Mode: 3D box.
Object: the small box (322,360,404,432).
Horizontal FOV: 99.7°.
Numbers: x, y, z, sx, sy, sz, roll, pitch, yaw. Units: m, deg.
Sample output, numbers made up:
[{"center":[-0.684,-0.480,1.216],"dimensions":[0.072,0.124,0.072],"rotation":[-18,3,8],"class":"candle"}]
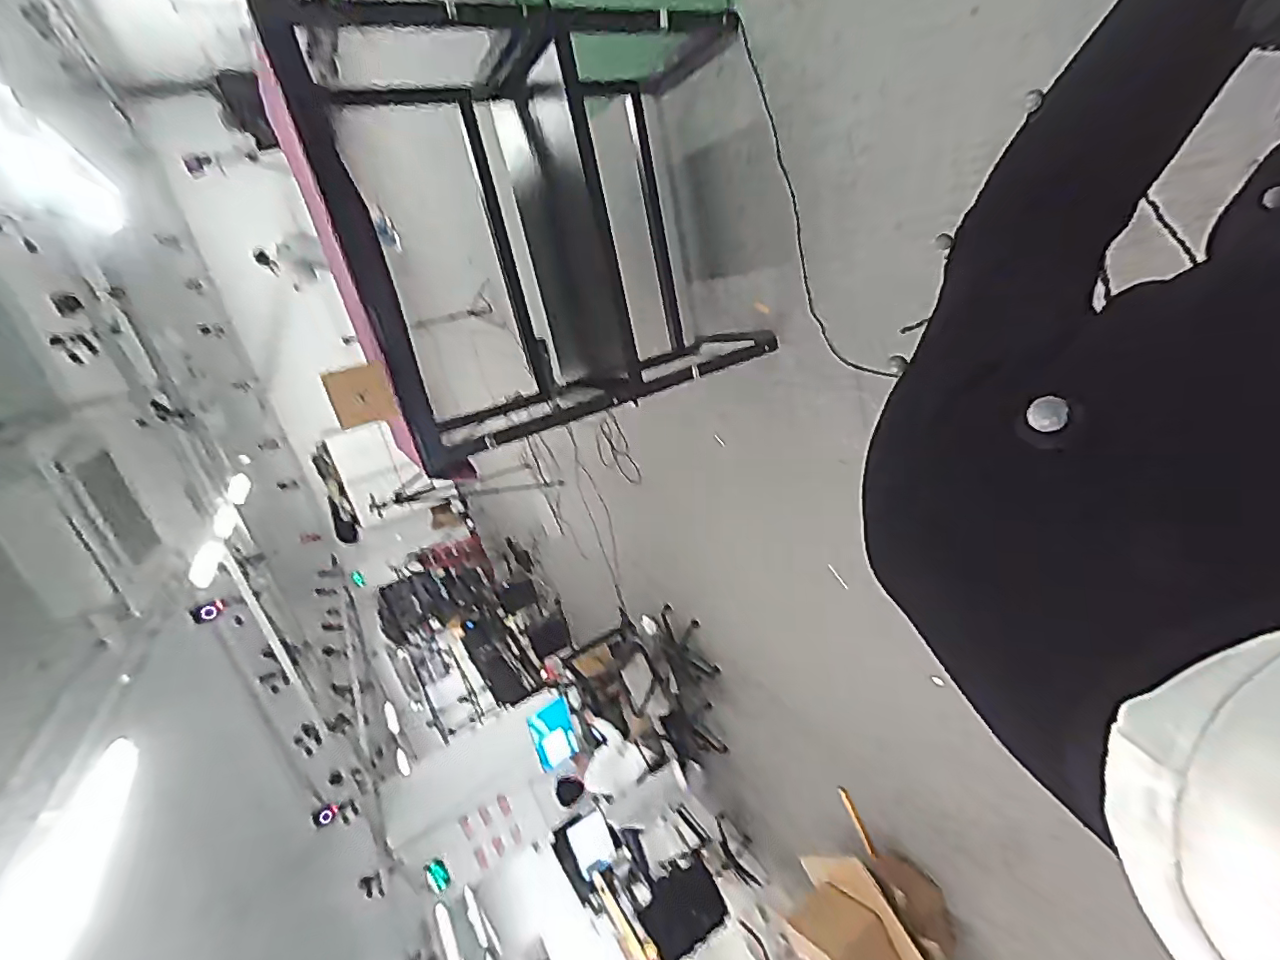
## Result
[{"center":[-0.833,-0.259,1.626],"dimensions":[0.168,0.176,0.179],"rotation":[18,127,59],"class":"small box"}]
